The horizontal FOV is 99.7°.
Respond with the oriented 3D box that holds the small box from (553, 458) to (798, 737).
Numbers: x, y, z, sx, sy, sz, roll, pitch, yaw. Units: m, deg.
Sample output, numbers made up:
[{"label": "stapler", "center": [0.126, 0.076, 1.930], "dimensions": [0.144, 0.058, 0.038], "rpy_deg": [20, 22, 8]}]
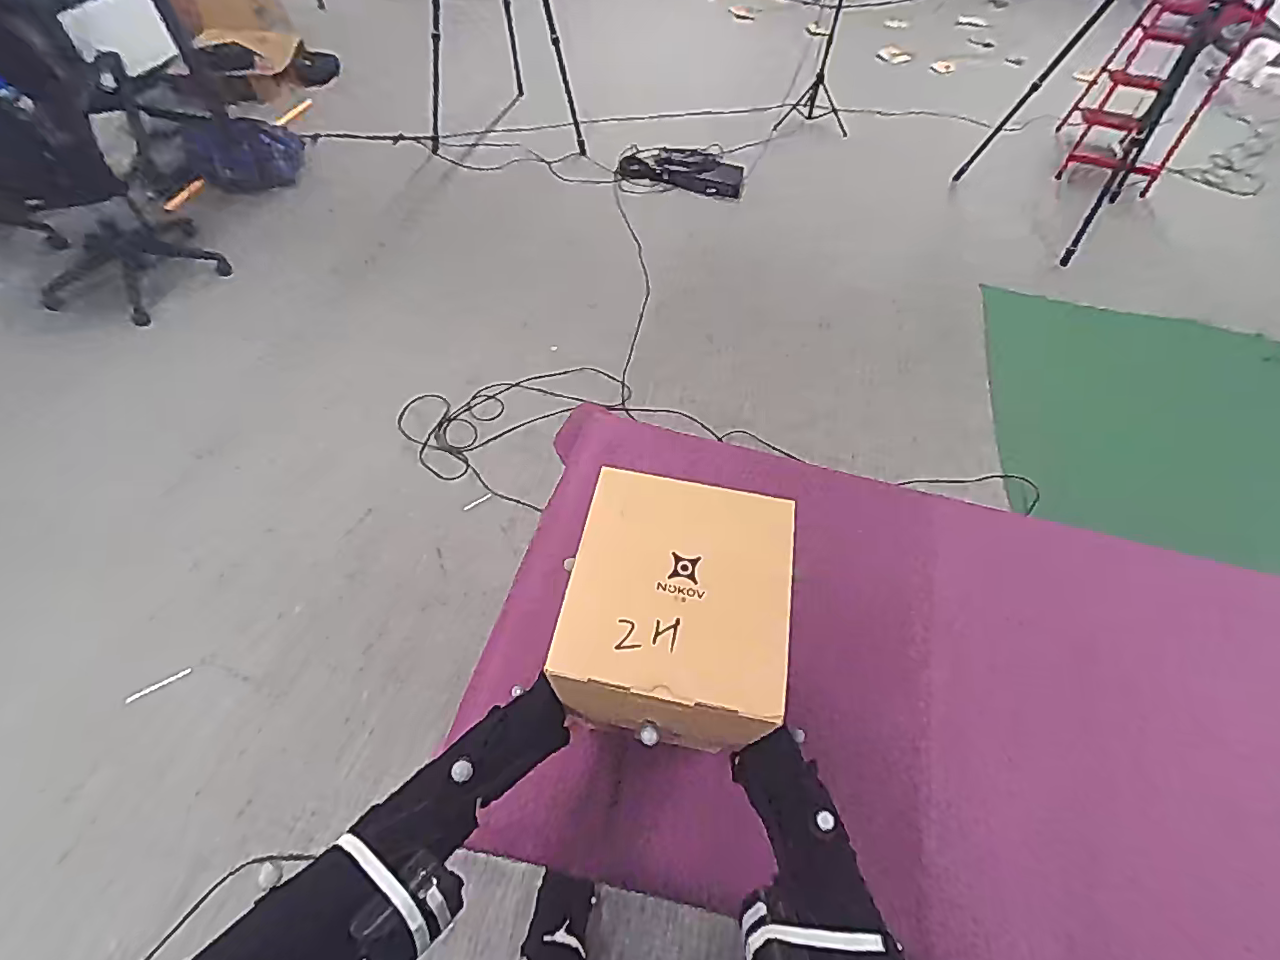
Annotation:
[{"label": "small box", "center": [0.031, 0.110, 0.479], "dimensions": [0.168, 0.176, 0.179], "rpy_deg": [11, 59, 5]}]
